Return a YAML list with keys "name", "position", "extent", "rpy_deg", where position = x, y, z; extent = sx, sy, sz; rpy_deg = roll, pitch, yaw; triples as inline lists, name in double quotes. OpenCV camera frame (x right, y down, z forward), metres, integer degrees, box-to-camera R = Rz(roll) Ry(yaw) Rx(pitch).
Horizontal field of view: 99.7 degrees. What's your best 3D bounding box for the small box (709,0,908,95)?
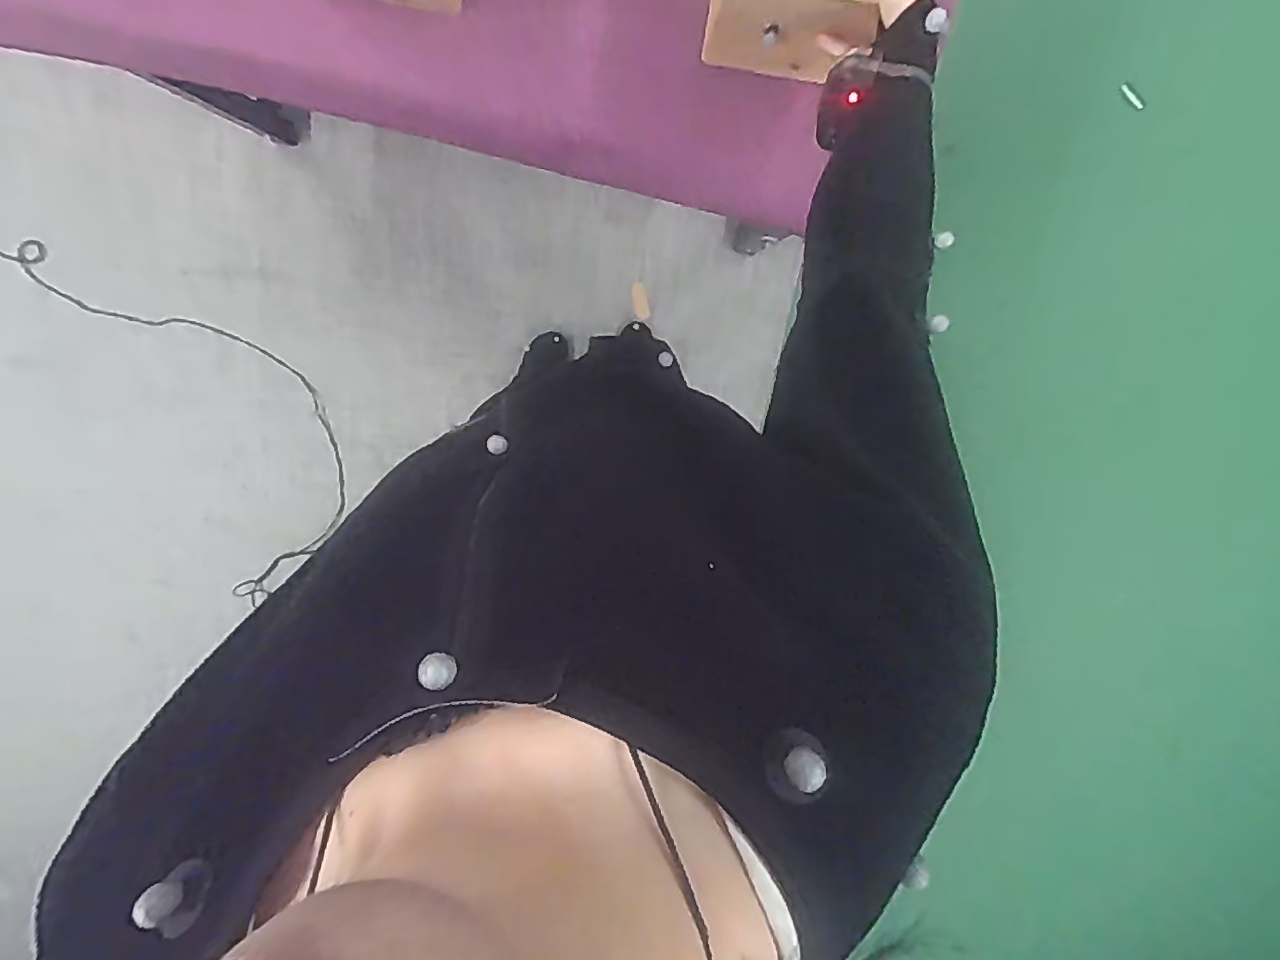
- name: "small box"
  position: [0.169, -0.524, 0.540]
  extent: [0.168, 0.176, 0.179]
  rpy_deg: [7, 104, -3]
